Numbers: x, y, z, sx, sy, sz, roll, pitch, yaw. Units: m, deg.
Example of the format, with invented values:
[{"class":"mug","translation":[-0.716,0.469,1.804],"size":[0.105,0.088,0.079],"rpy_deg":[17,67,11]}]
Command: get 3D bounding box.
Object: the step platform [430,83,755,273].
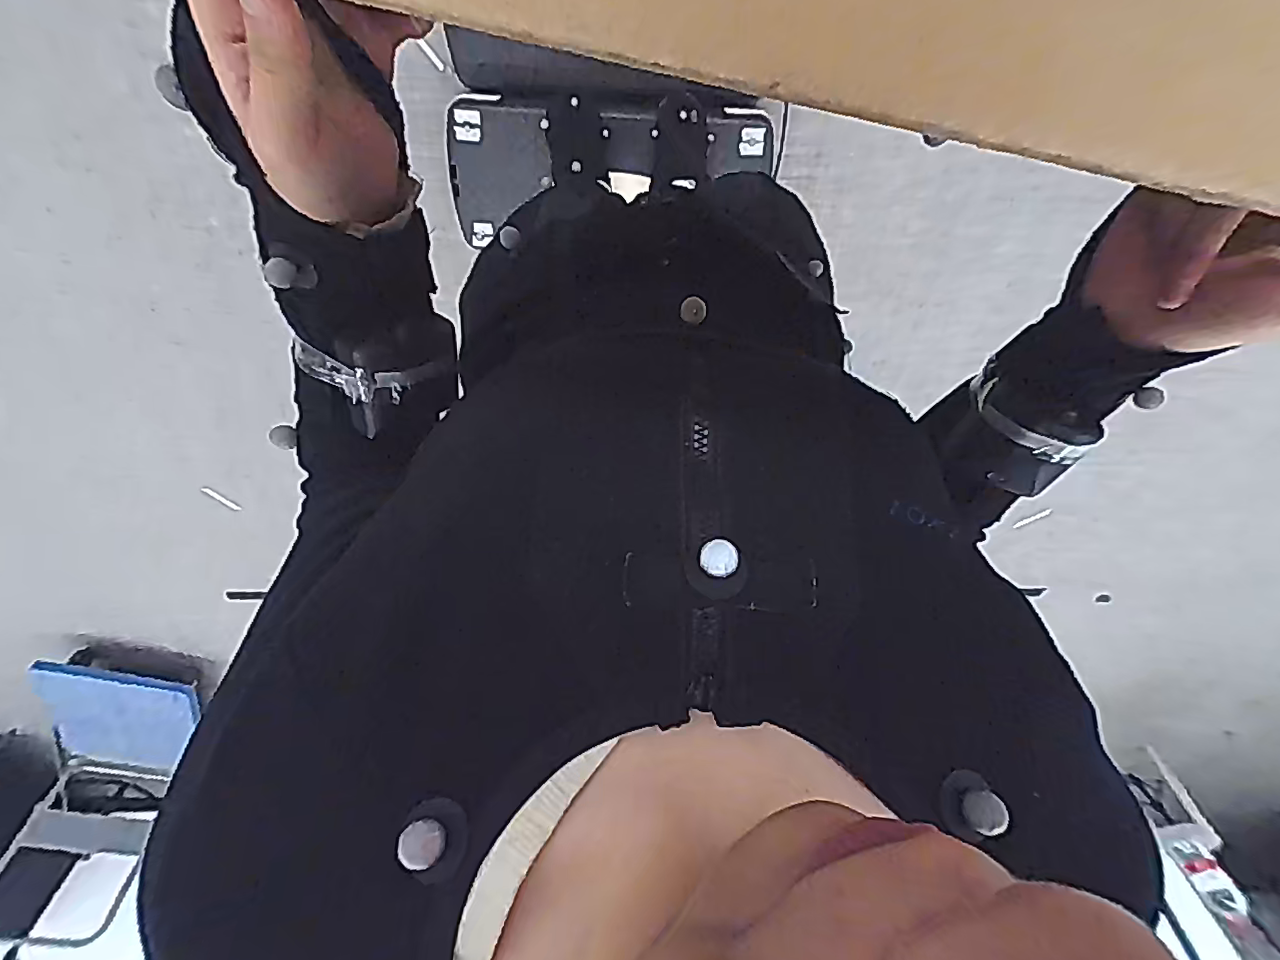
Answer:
[{"class":"step platform","translation":[-0.098,-0.657,1.196],"size":[0.684,0.204,0.286],"rpy_deg":[6,128,-4]}]
